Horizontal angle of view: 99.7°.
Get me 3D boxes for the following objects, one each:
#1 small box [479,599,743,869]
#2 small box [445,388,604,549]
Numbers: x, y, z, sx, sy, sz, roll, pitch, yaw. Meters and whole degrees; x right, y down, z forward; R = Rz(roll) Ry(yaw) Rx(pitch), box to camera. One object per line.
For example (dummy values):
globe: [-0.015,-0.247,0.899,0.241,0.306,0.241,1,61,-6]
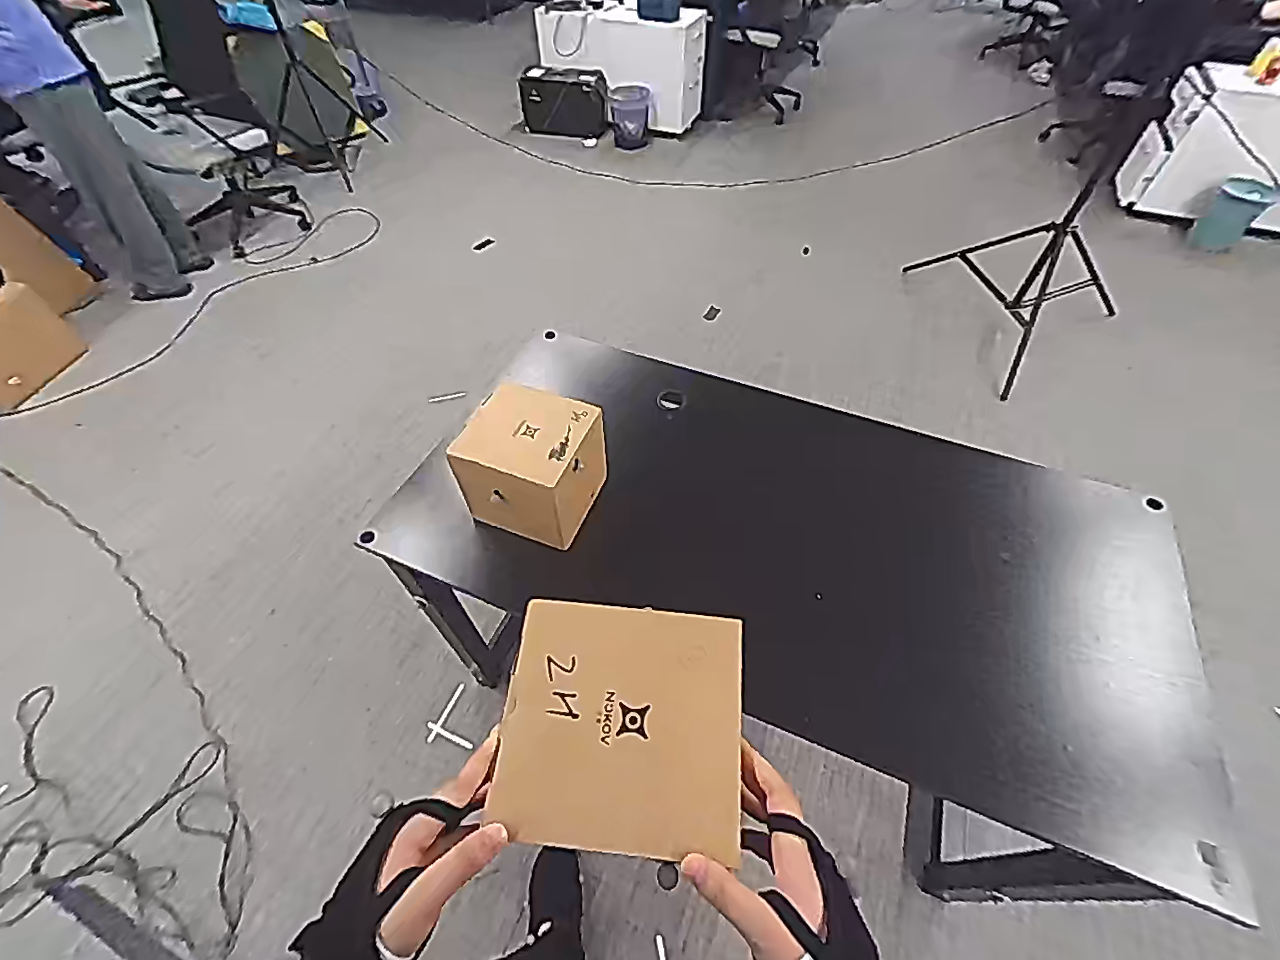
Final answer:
small box: [-0.013,0.217,0.465,0.179,0.176,0.168,5,58,4]
small box: [-0.170,-0.015,0.855,0.179,0.176,0.168,16,54,13]
